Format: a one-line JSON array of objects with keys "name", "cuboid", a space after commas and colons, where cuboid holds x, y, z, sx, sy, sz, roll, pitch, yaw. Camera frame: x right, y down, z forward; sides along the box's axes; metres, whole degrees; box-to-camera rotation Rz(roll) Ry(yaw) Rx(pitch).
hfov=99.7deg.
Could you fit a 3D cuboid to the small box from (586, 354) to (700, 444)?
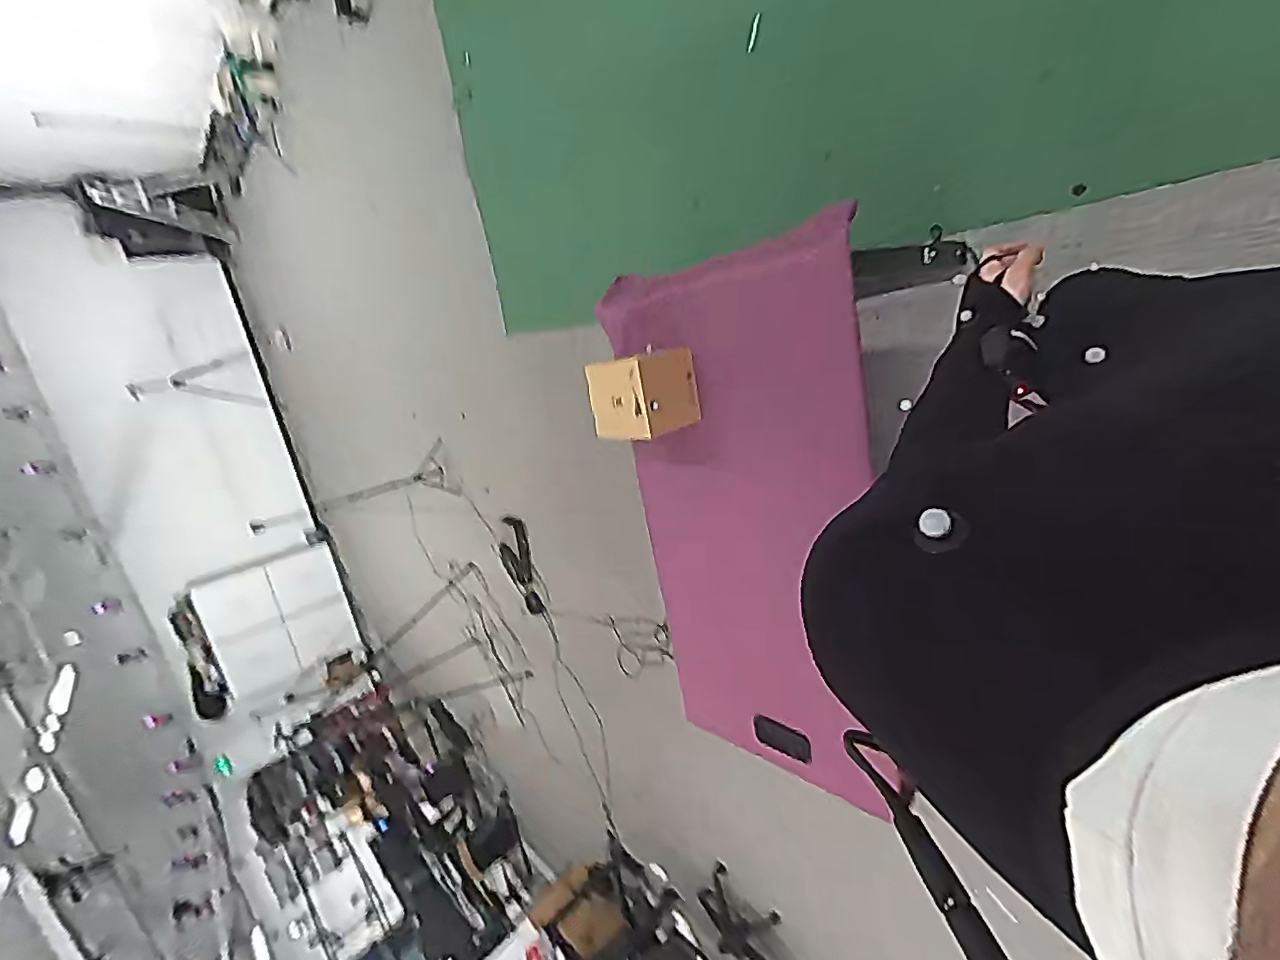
[{"name": "small box", "cuboid": [0.009, -0.183, 1.211, 0.179, 0.176, 0.168, 5, 112, 48]}]
